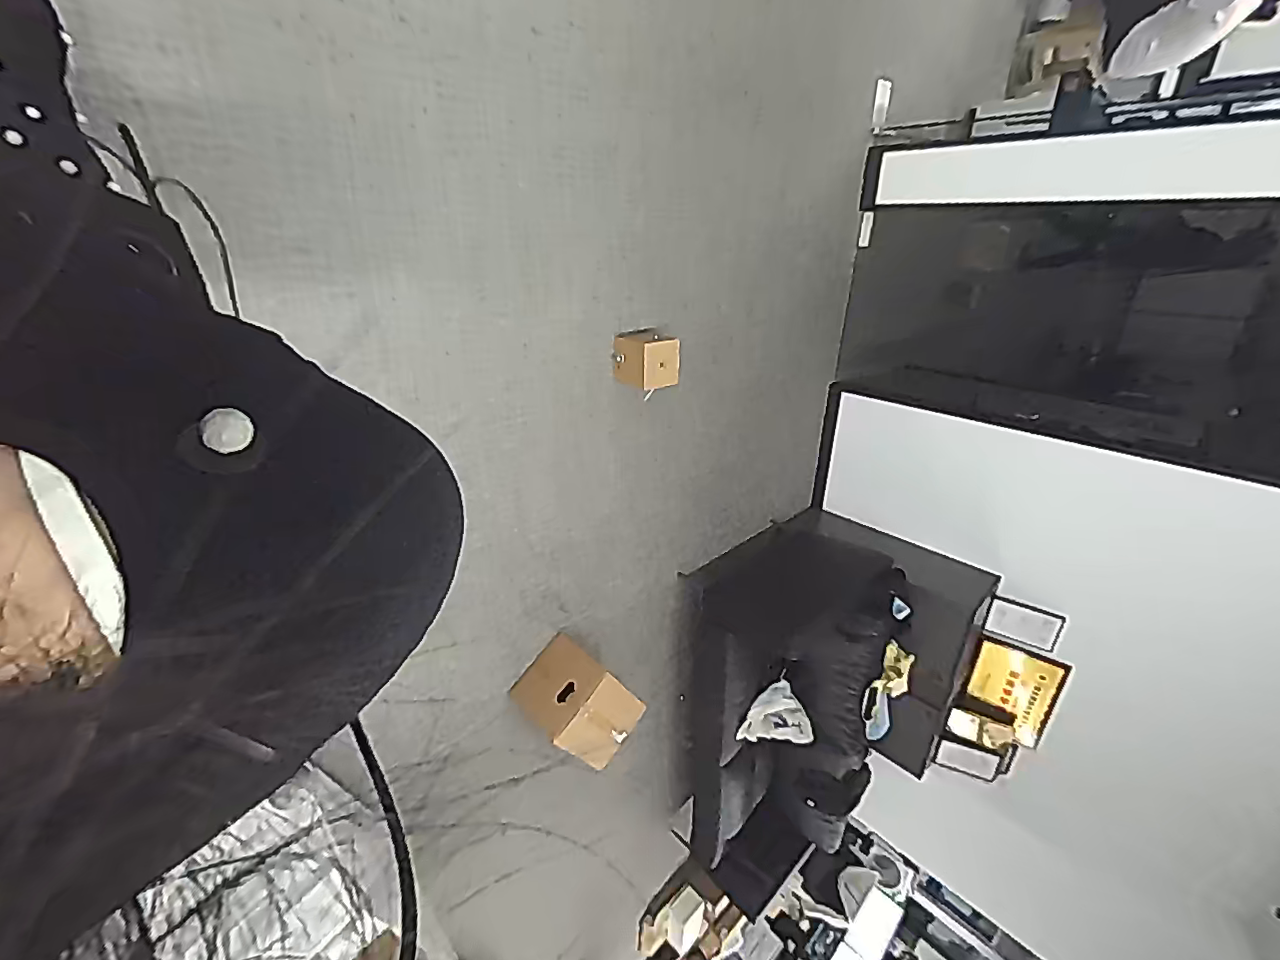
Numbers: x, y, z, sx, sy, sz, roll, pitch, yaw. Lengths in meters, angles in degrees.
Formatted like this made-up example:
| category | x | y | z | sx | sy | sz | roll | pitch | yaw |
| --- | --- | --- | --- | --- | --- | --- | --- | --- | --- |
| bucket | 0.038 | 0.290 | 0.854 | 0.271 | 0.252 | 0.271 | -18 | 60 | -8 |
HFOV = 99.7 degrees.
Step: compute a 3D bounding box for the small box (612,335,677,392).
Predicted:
| category | x | y | z | sx | sy | sz | roll | pitch | yaw |
| --- | --- | --- | --- | --- | --- | --- | --- | --- | --- |
| small box | 0.015 | -0.432 | 1.976 | 0.179 | 0.176 | 0.168 | -21 | 122 | -38 |
